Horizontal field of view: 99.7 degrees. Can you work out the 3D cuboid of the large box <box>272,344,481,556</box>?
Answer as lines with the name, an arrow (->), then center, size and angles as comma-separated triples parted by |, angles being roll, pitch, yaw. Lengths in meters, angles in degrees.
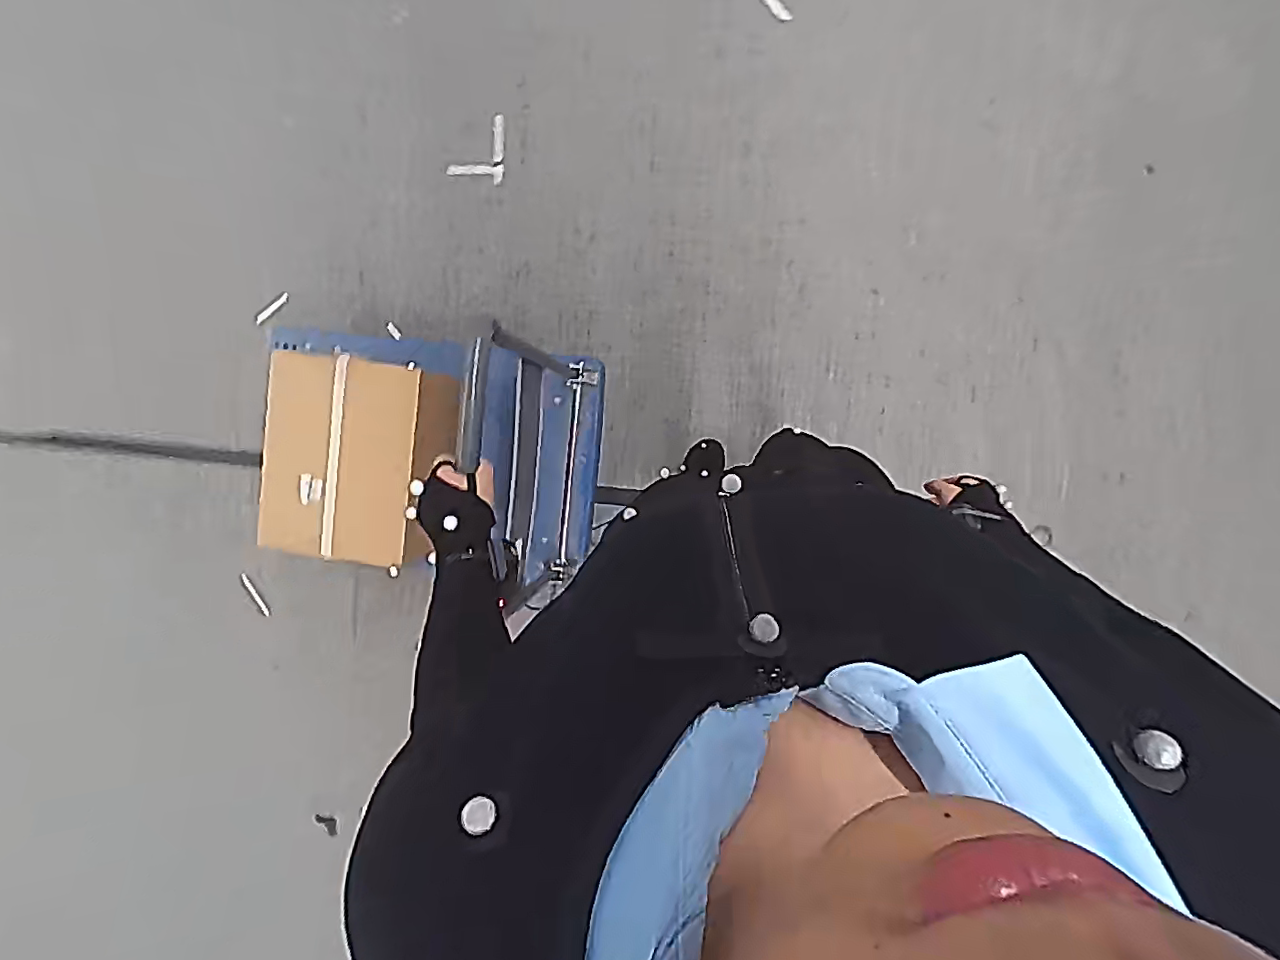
large box -> -0.578, -0.076, 1.237 | 0.320, 0.320, 0.408 | 9, 97, 5
